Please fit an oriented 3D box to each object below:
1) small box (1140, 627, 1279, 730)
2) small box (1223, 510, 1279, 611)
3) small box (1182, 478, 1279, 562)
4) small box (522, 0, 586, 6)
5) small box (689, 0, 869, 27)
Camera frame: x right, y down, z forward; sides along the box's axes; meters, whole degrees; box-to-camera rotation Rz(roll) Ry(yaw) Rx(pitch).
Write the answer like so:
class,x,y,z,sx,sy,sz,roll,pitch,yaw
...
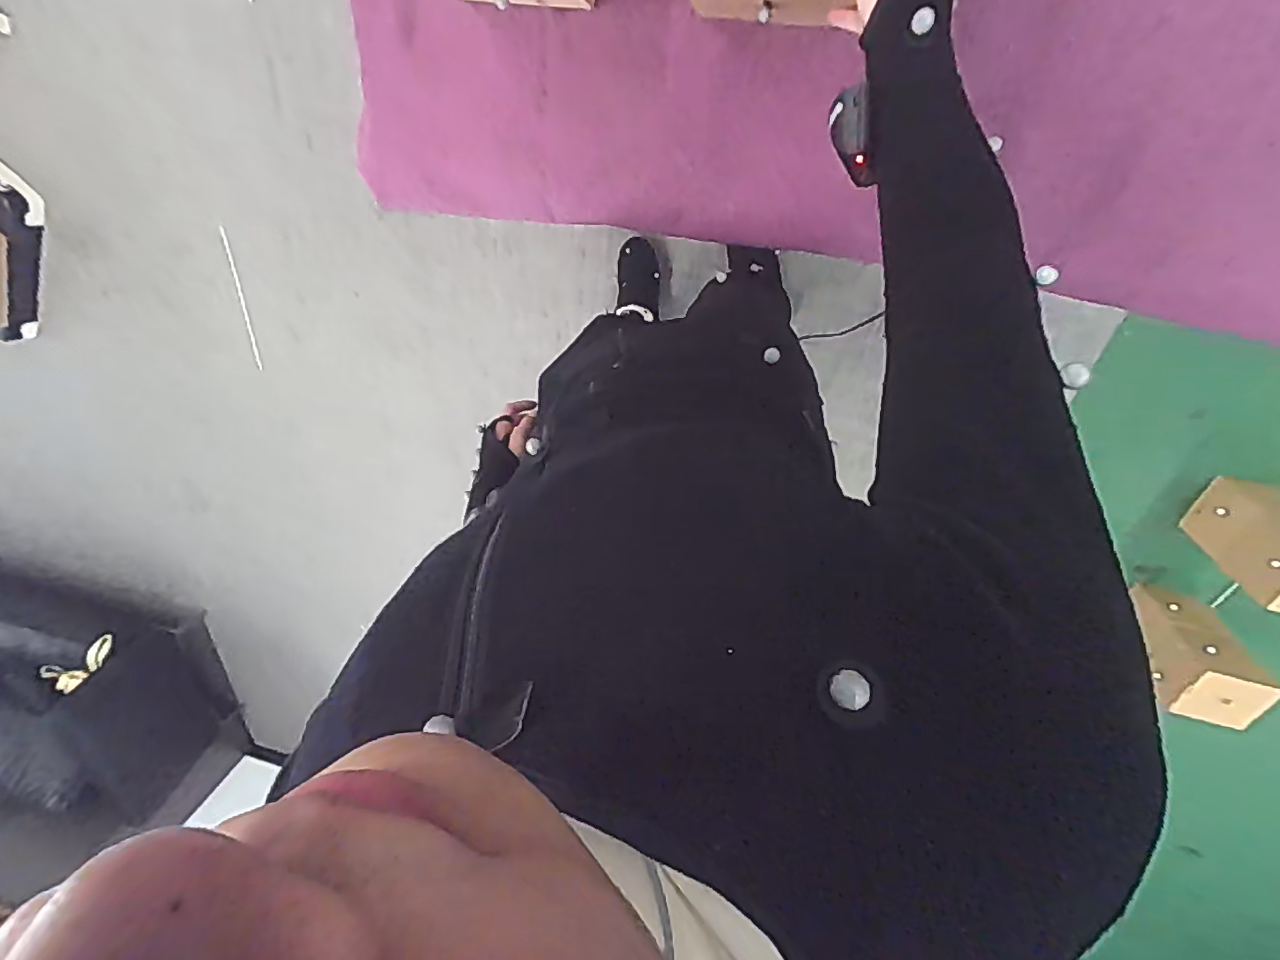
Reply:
class,x,y,z,sx,sy,sz,roll,pitch,yaw
small box,1.480,0.512,1.413,0.179,0.176,0.168,13,124,8
small box,1.500,0.190,1.217,0.168,0.176,0.179,12,122,8
small box,1.541,0.112,1.356,0.179,0.176,0.168,12,122,7
small box,-0.145,-0.592,0.526,0.168,0.176,0.179,10,123,8
small box,0.138,-0.531,0.486,0.179,0.176,0.168,12,122,9
